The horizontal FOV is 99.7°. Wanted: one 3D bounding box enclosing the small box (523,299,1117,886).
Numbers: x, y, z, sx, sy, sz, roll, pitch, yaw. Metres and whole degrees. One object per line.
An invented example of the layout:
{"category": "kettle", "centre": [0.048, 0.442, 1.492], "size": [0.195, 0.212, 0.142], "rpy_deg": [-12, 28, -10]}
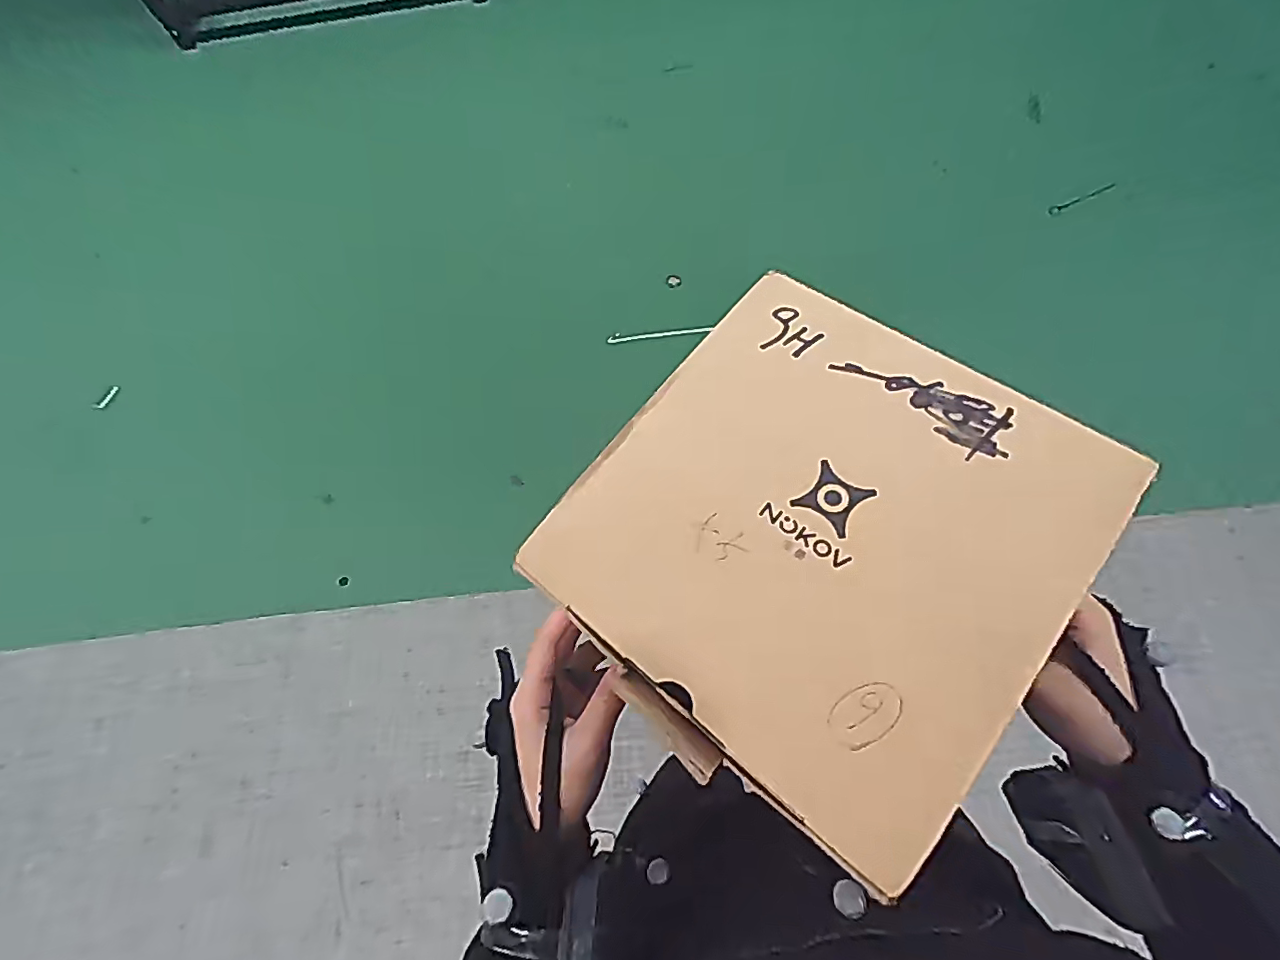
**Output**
{"category": "small box", "centre": [0.077, 0.051, 0.286], "size": [0.168, 0.176, 0.179], "rpy_deg": [36, 77, 20]}
